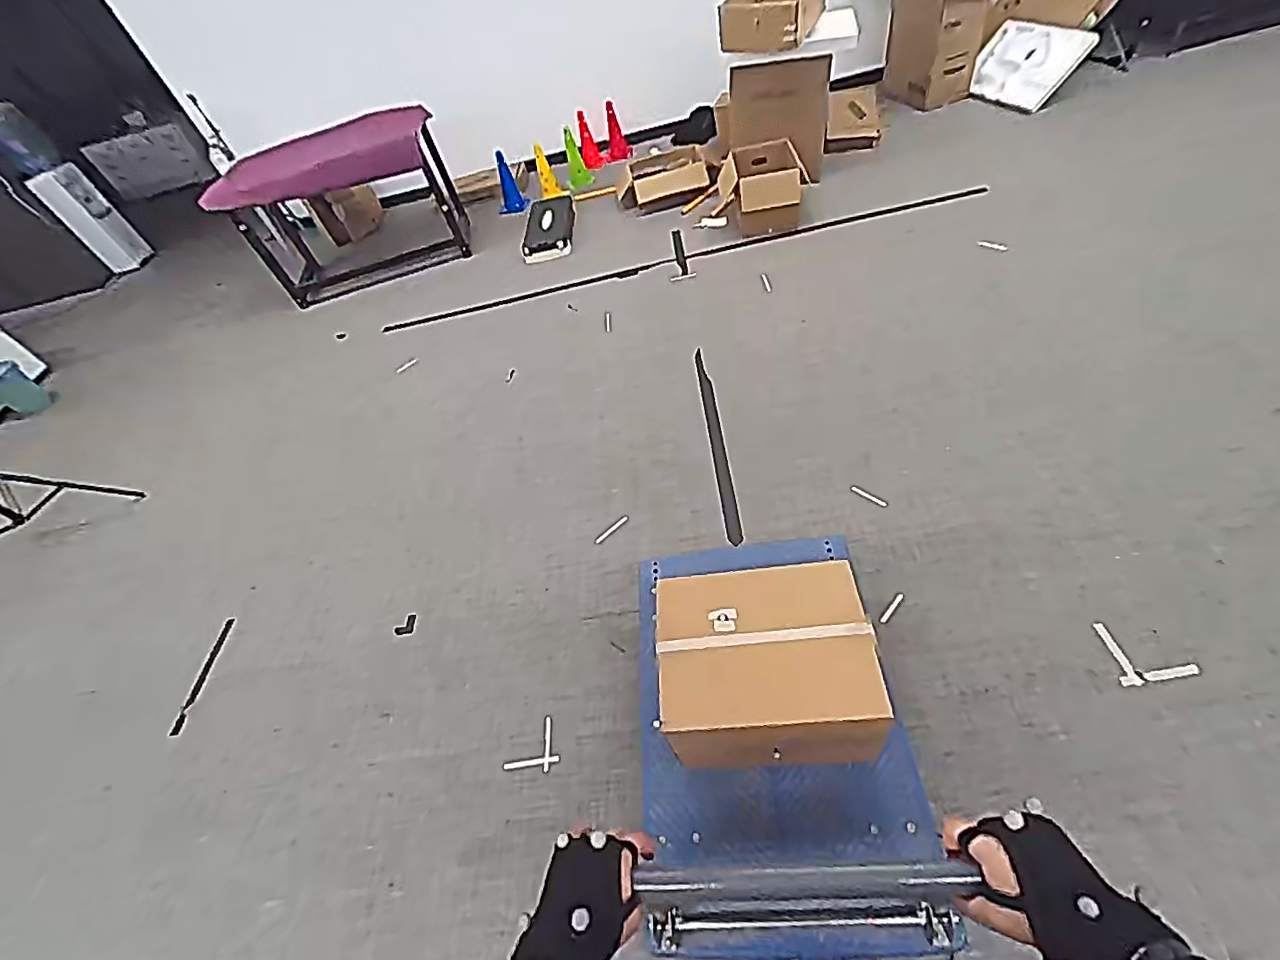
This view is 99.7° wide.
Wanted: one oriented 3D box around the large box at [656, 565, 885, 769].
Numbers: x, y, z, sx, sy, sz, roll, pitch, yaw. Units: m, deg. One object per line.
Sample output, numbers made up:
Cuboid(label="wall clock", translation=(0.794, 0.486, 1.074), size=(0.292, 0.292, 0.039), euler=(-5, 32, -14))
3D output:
Cuboid(label="large box", translation=(0.265, 0.417, 1.174), size=(0.408, 0.320, 0.320), euler=(-9, 48, 10))
